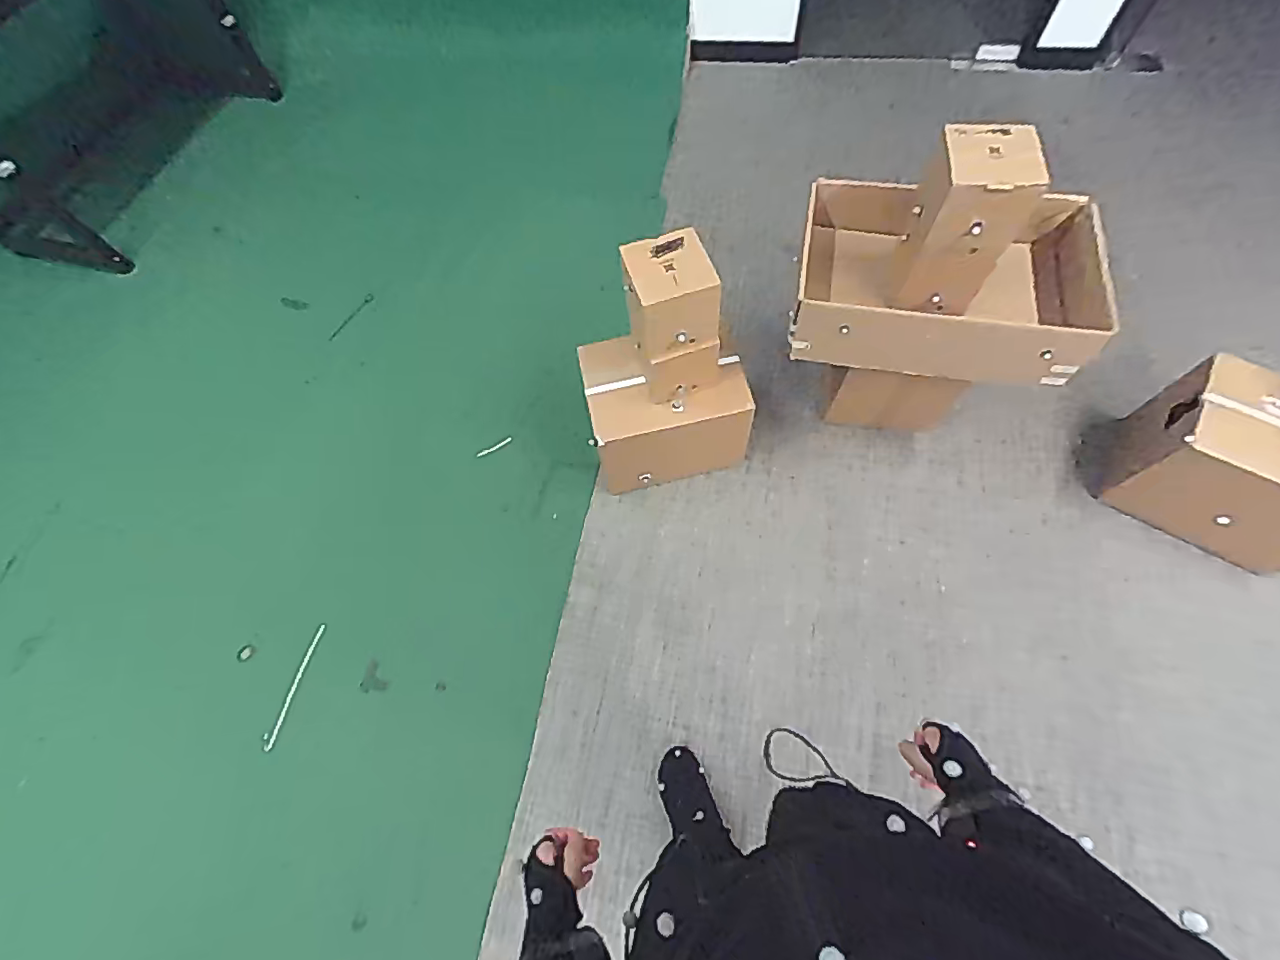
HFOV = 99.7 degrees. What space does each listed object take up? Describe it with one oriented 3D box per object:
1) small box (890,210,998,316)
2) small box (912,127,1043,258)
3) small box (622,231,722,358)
[{"bbox_3d":[0.683,-0.505,1.237,0.168,0.176,0.179,8,66,9],"label":"small box"},{"bbox_3d":[0.667,-0.574,1.089,0.168,0.176,0.179,6,66,7],"label":"small box"},{"bbox_3d":[0.067,-0.398,1.172,0.168,0.176,0.179,-17,64,-3],"label":"small box"}]
